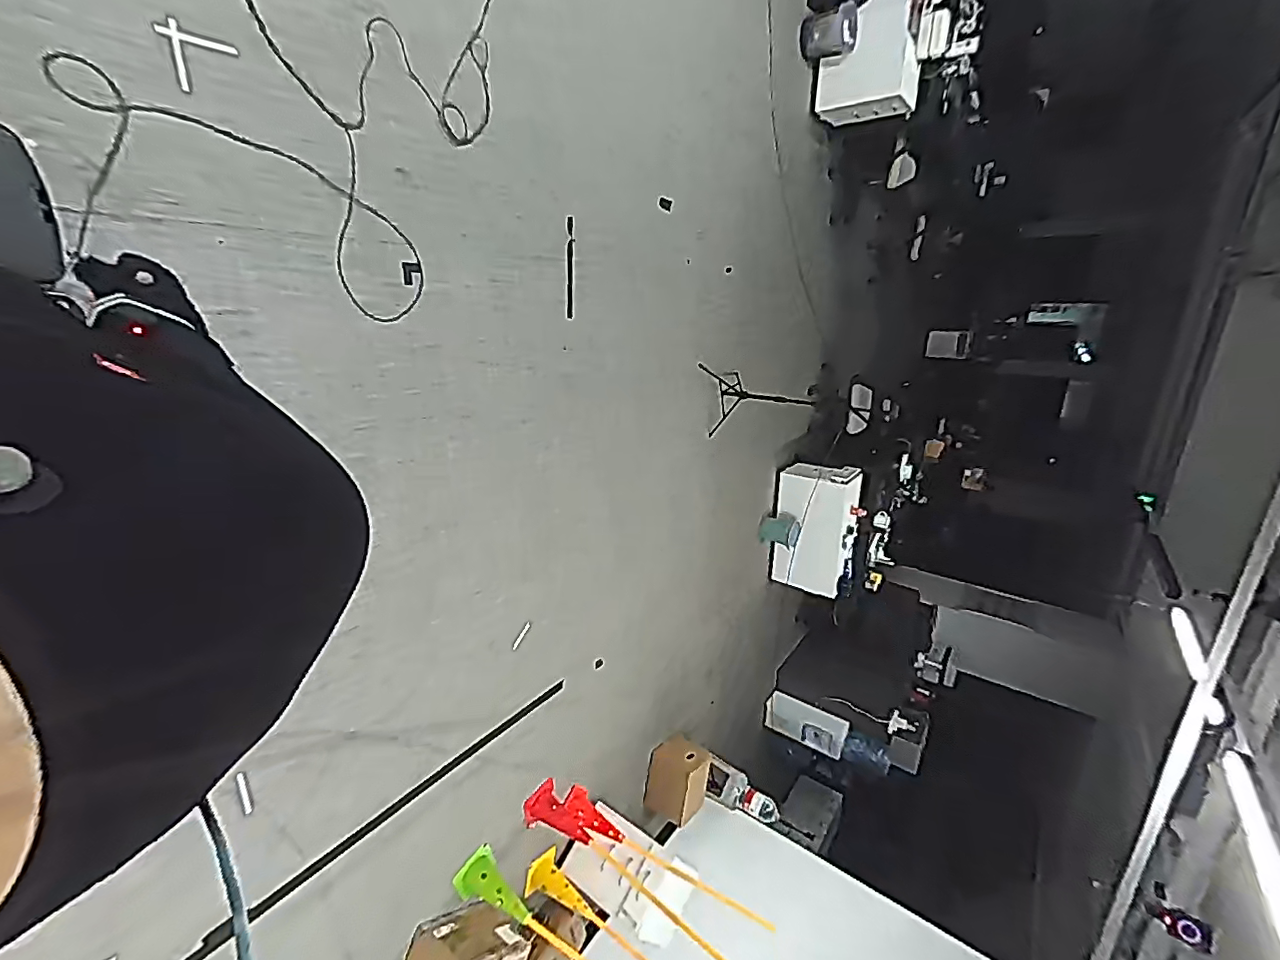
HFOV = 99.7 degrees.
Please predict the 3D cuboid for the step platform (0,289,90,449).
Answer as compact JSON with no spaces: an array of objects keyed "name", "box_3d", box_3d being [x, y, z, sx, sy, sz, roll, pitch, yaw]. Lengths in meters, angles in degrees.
[{"name":"step platform","box_3d":[-1.365,-0.155,0.860,0.684,0.204,0.286,-22,119,-48]}]
